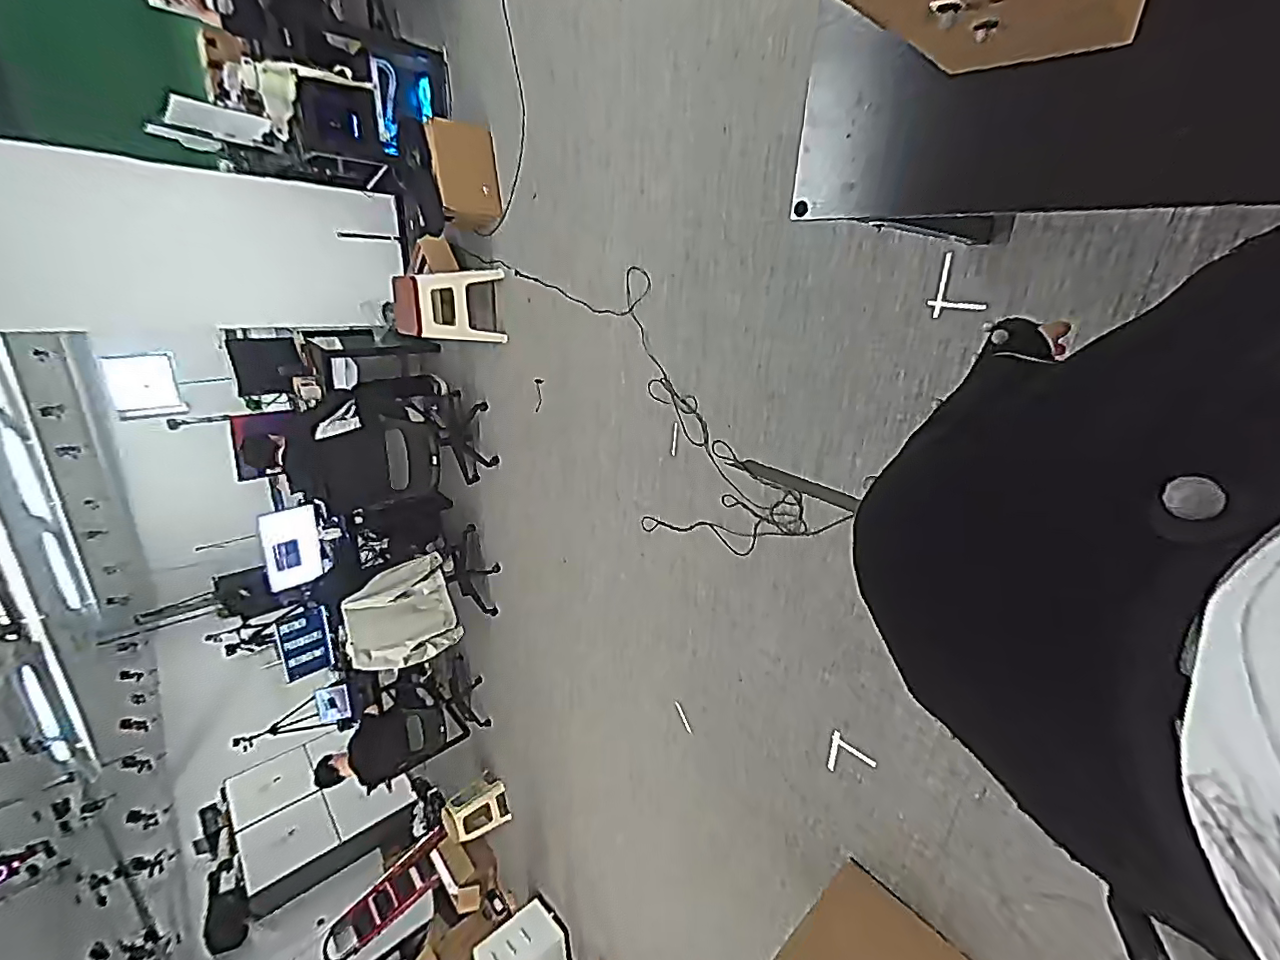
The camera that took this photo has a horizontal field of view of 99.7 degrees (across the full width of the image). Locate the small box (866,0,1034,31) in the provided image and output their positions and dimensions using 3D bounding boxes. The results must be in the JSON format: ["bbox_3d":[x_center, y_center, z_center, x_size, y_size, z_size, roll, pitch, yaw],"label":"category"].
[{"bbox_3d":[0.257,-0.494,0.415,0.168,0.176,0.179,25,121,44],"label":"small box"}]

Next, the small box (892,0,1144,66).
[{"bbox_3d":[0.379,-0.528,0.516,0.179,0.176,0.168,25,120,42],"label":"small box"}]
